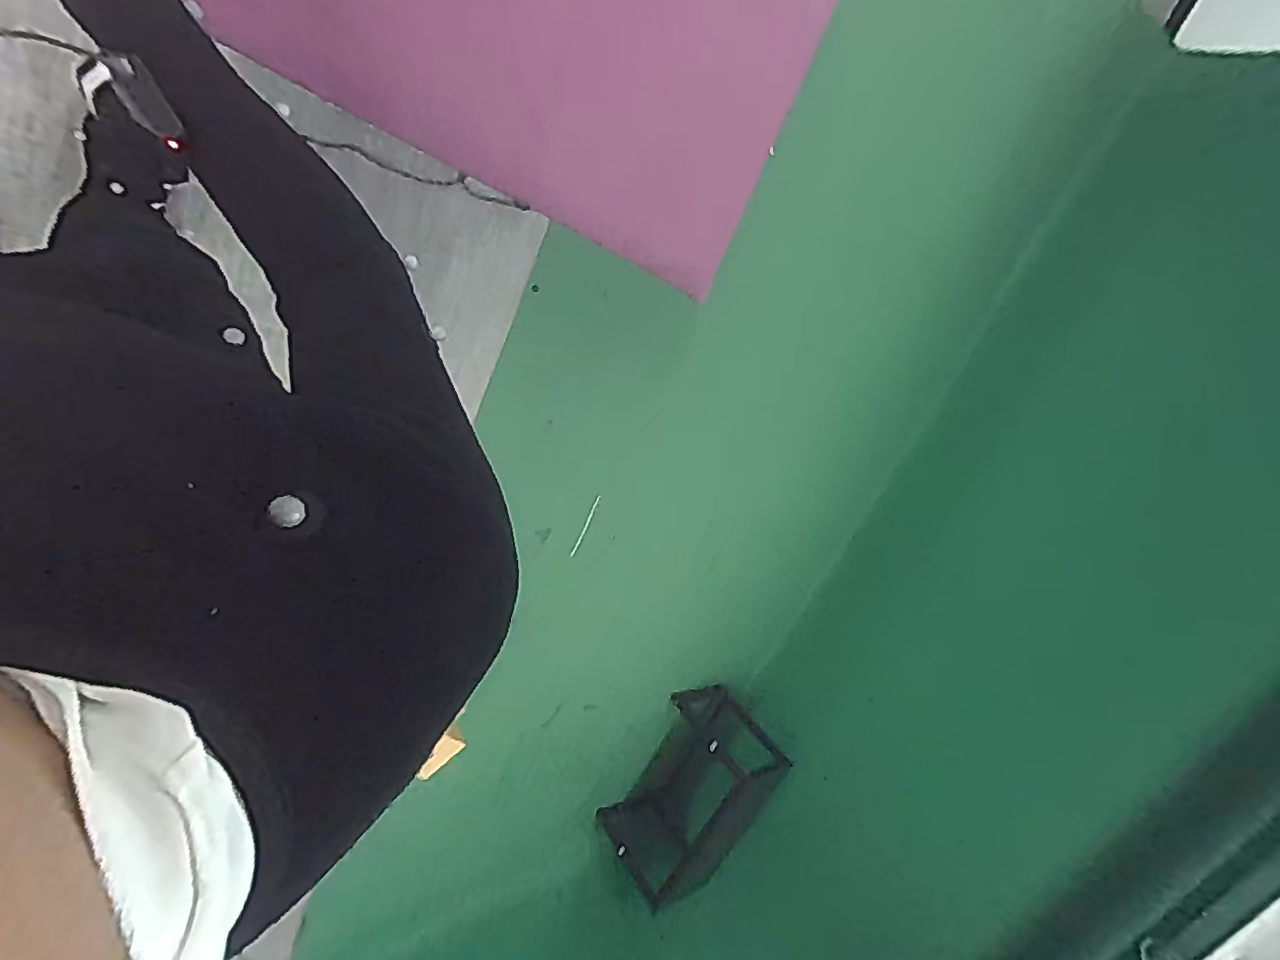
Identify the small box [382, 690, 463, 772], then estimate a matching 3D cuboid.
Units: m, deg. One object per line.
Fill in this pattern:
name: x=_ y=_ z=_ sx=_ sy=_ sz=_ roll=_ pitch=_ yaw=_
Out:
small box: x=-0.739 y=0.847 z=1.833 sx=0.168 sy=0.176 sz=0.179 roll=-39 pitch=137 yaw=-10
